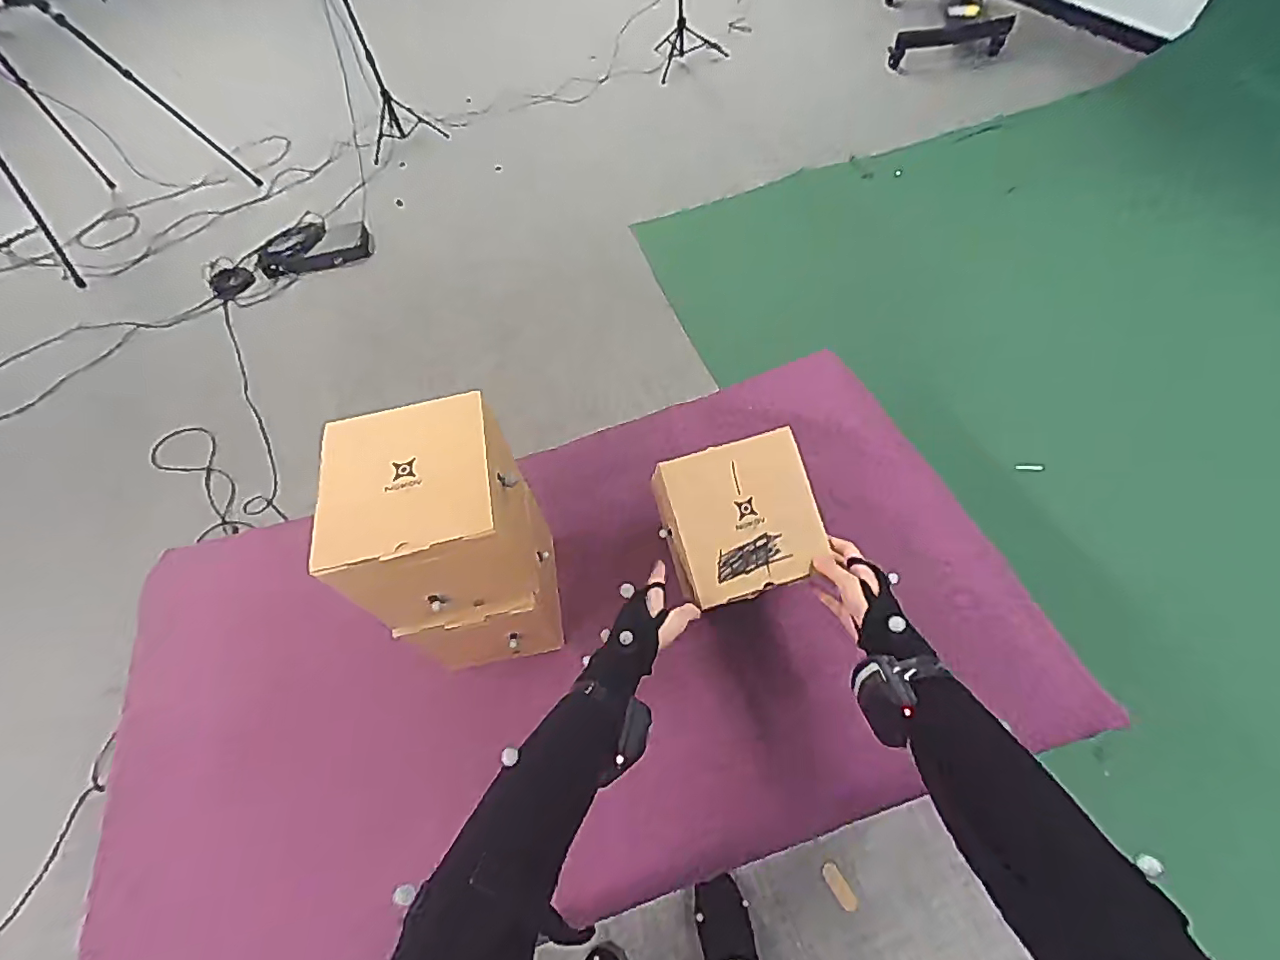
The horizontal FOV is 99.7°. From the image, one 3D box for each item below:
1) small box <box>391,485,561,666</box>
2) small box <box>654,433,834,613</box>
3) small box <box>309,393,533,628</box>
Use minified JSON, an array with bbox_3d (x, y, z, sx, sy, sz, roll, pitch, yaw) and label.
[{"bbox_3d":[-0.205,0.134,0.714,0.168,0.176,0.179,-10,56,-2],"label":"small box"},{"bbox_3d":[0.119,0.056,0.694,0.168,0.176,0.179,-15,83,-4],"label":"small box"},{"bbox_3d":[-0.221,0.037,0.585,0.168,0.176,0.179,-13,58,-4],"label":"small box"}]
